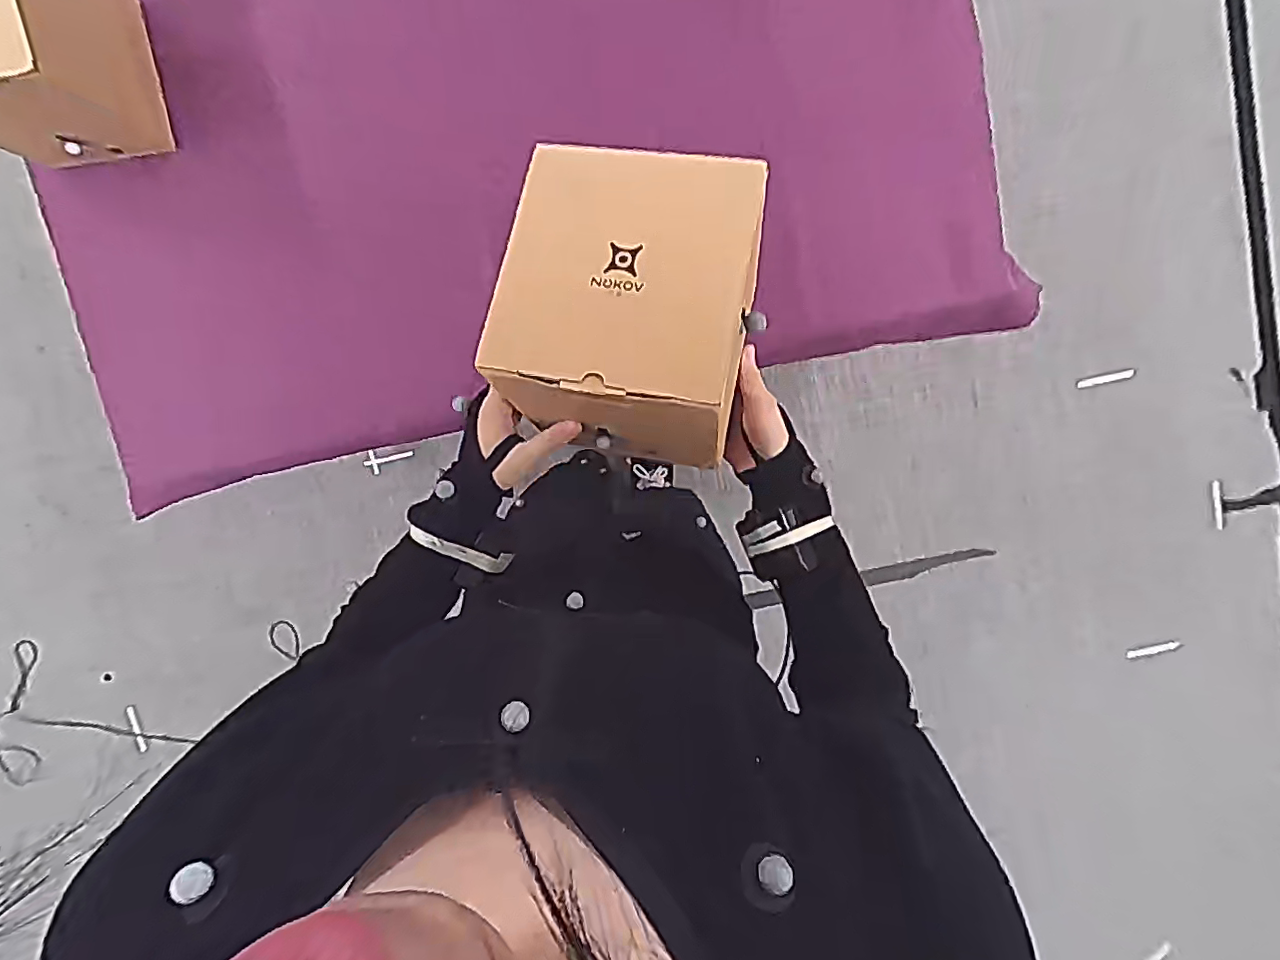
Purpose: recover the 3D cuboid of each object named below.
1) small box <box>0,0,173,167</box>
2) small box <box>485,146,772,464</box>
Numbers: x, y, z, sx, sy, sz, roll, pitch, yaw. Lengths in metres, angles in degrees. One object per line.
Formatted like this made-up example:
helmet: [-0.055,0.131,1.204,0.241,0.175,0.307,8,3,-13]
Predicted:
small box: [-0.677,-0.479,0.594,0.168,0.176,0.179,-9,99,0]
small box: [0.001,-0.125,0.439,0.168,0.176,0.179,11,81,9]
